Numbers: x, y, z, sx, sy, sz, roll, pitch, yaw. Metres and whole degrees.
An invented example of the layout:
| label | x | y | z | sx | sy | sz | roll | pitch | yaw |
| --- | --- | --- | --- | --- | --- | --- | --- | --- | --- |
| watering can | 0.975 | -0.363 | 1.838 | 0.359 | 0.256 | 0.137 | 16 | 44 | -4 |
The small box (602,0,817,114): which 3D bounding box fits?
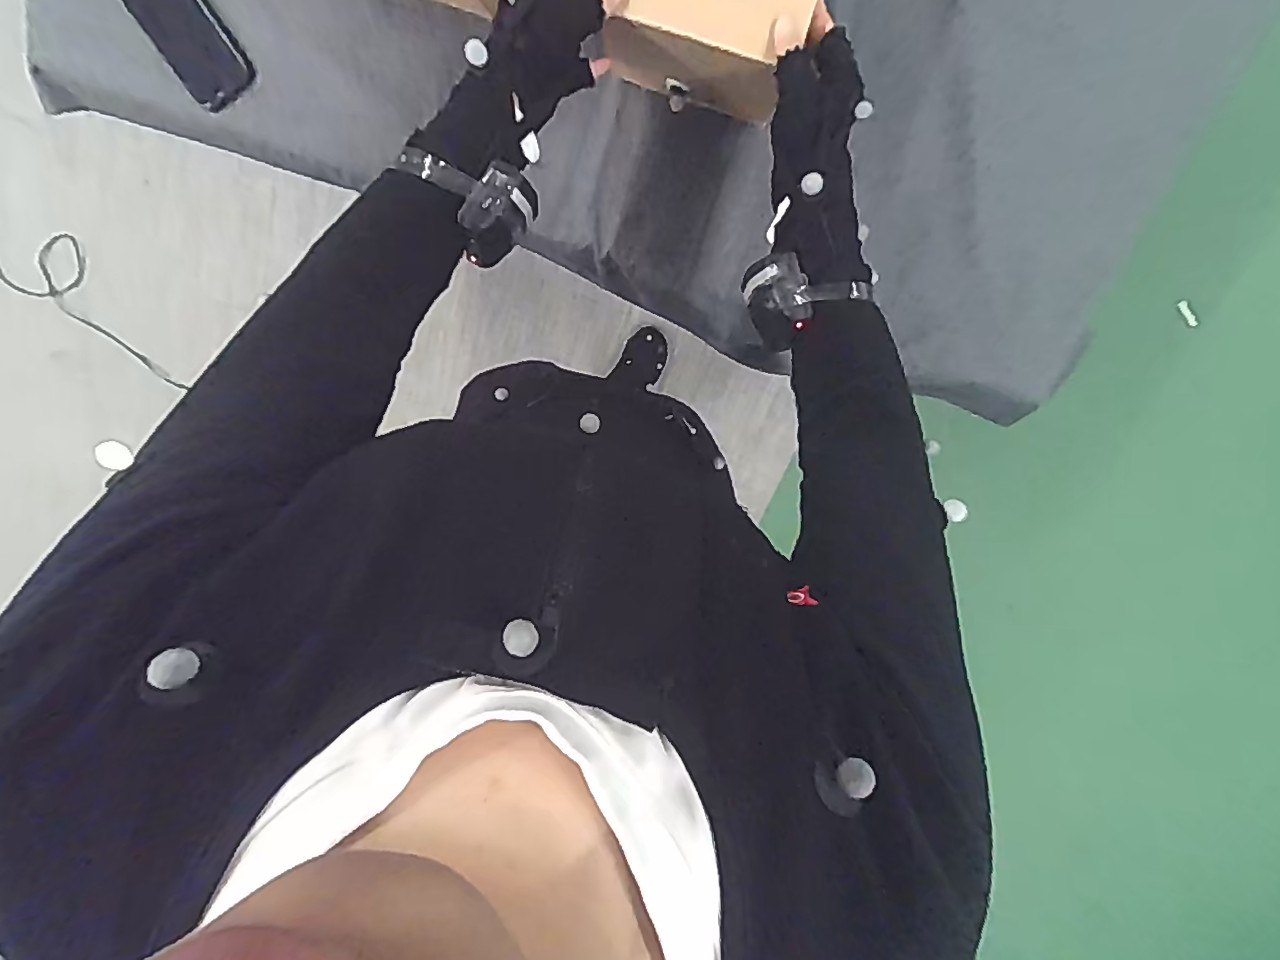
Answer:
| label | x | y | z | sx | sy | sz | roll | pitch | yaw |
| --- | --- | --- | --- | --- | --- | --- | --- | --- | --- |
| small box | 0.073 | -0.451 | 0.461 | 0.168 | 0.176 | 0.179 | 16 | 112 | -1 |
